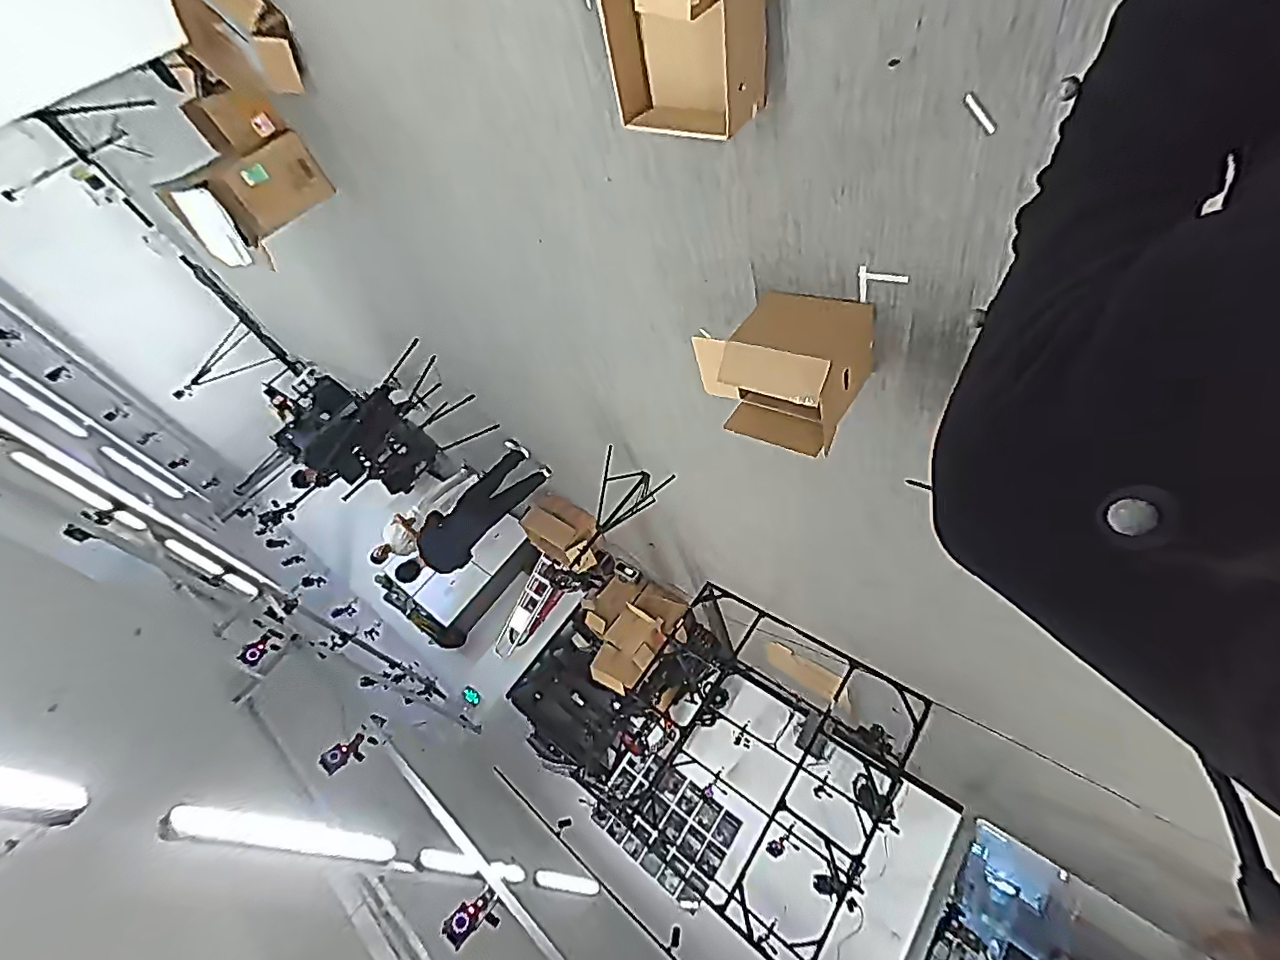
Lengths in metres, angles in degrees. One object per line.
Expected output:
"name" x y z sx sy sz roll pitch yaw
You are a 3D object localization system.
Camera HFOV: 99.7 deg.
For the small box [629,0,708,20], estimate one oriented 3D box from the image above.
"small box" 0.085 -1.255 1.300 0.179 0.176 0.168 31 157 21
